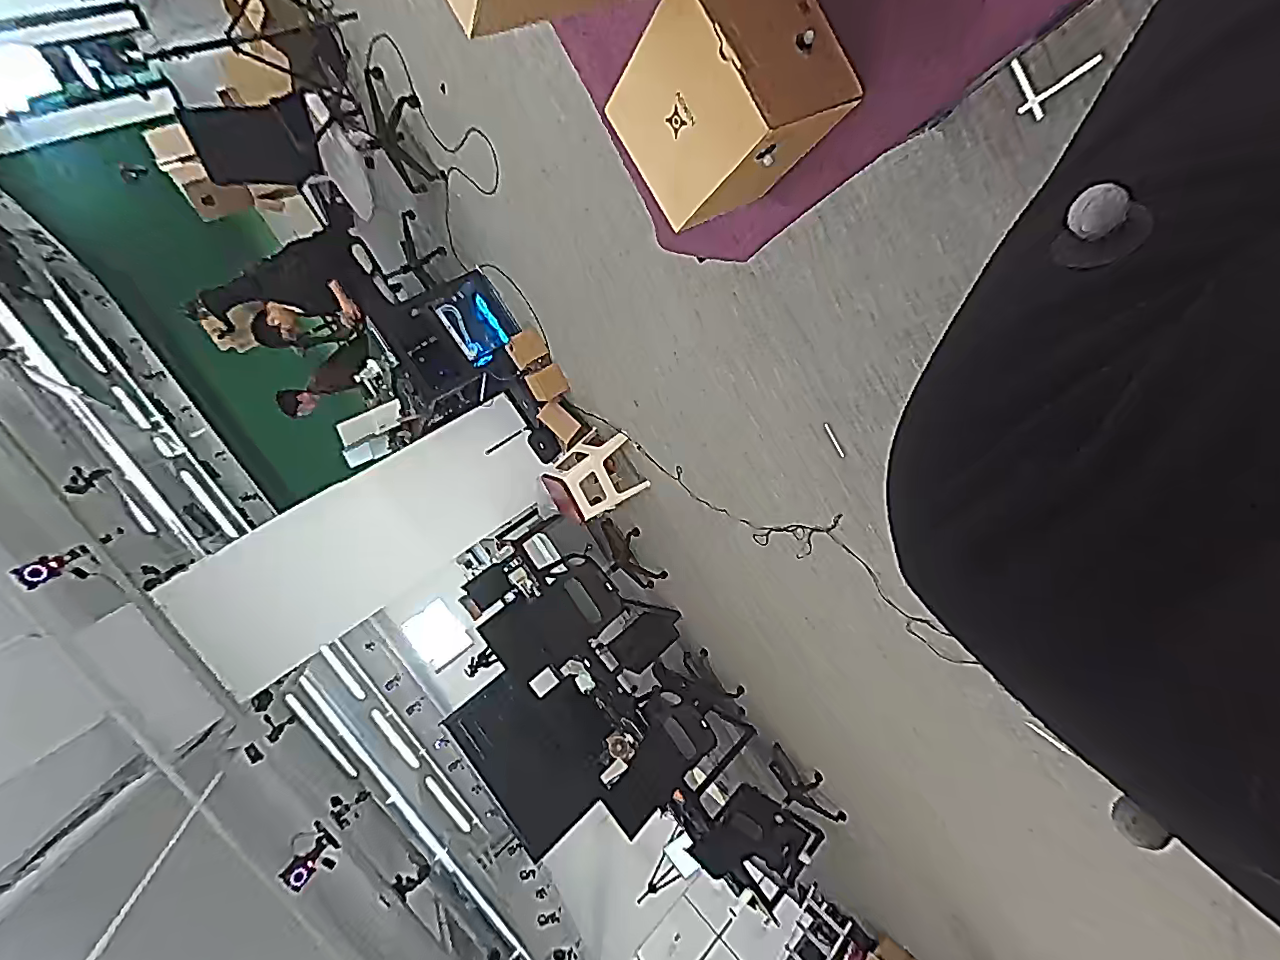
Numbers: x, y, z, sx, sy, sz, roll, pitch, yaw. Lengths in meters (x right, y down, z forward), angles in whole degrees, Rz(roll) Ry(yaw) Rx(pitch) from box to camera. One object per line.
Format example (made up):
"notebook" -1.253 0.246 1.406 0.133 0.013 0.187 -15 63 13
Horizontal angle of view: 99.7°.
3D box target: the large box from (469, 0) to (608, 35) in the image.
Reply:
"large box" -0.084 -0.698 0.425 0.408 0.320 0.320 56 157 -12

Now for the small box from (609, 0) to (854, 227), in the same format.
"small box" 0.101 -0.430 0.613 0.168 0.176 0.179 57 152 -6
